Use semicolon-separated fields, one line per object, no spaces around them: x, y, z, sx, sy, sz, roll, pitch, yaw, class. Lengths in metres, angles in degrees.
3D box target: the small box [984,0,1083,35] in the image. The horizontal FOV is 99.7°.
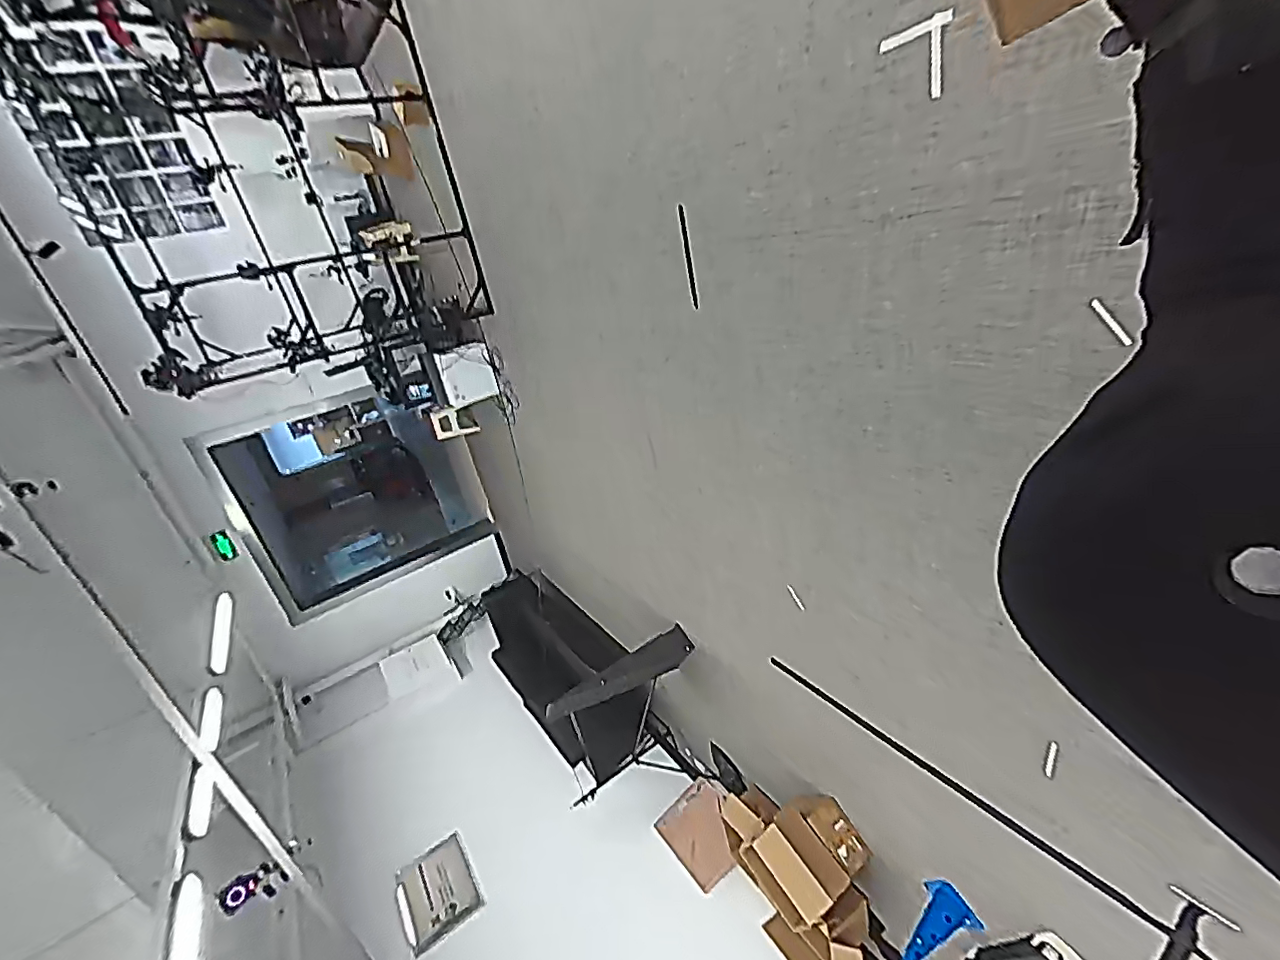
0.207;-0.335;0.214;0.168;0.176;0.179;-13;102;41;small box
